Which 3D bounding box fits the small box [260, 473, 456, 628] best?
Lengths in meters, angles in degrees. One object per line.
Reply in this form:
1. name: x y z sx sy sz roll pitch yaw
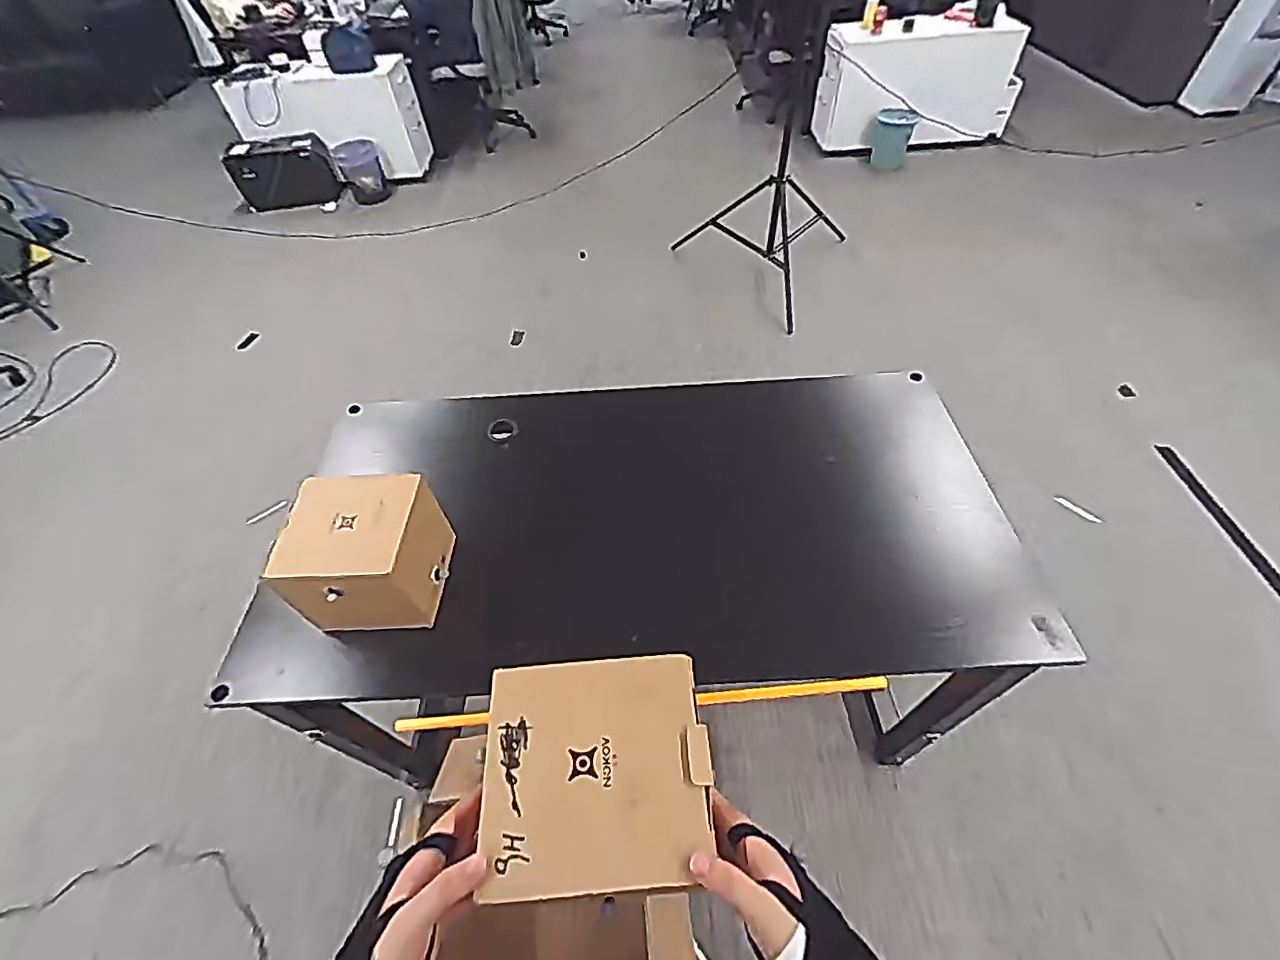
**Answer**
1. small box: -0.392 0.107 0.790 0.179 0.176 0.168 -2 52 0
